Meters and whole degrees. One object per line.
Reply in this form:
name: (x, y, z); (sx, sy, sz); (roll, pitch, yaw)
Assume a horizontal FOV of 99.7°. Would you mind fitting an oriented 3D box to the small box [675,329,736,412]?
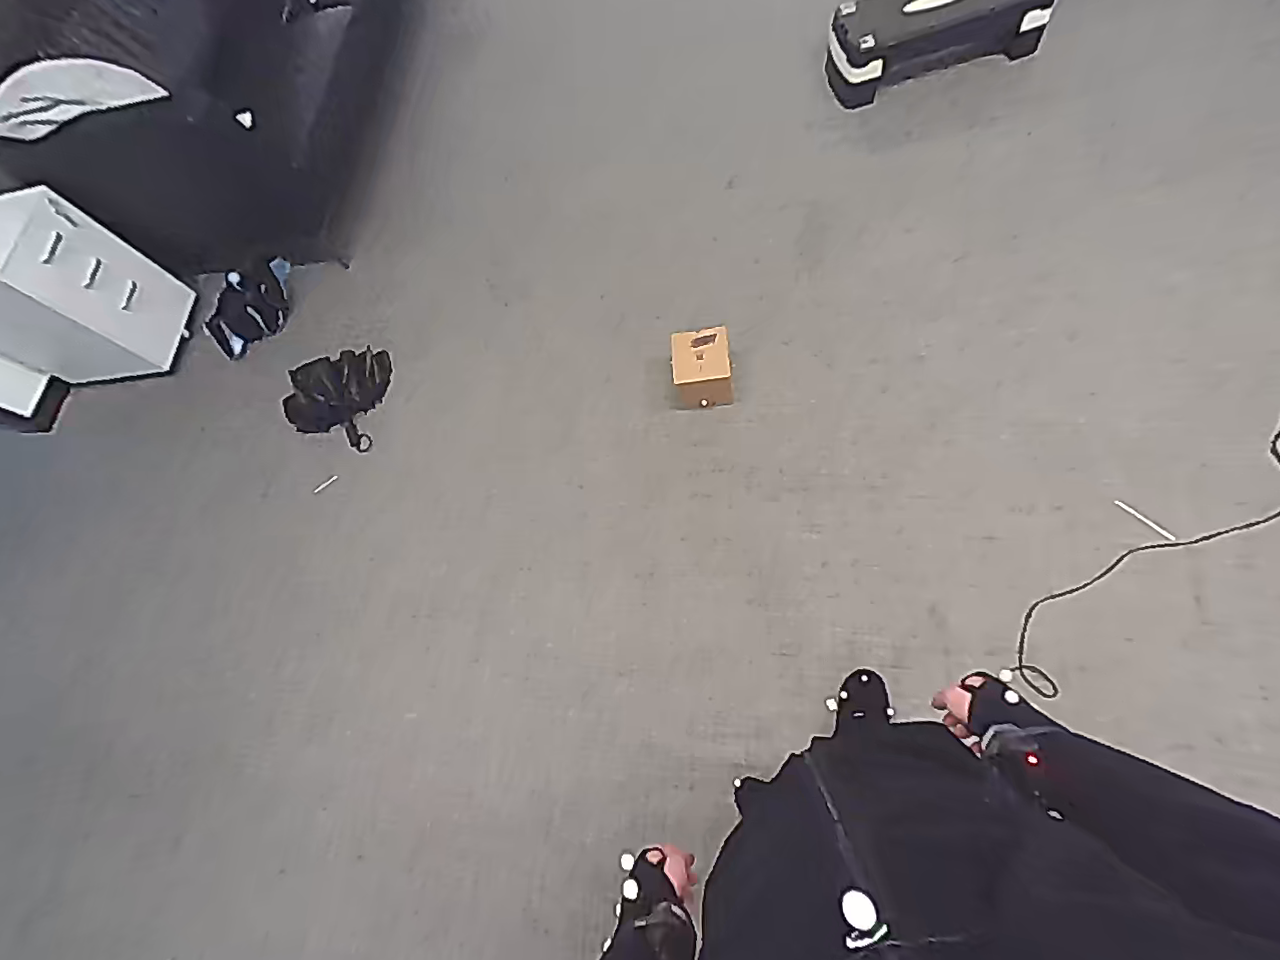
small box: (0.200, -0.328, 1.646); (0.168, 0.176, 0.179); (-6, 69, 12)
